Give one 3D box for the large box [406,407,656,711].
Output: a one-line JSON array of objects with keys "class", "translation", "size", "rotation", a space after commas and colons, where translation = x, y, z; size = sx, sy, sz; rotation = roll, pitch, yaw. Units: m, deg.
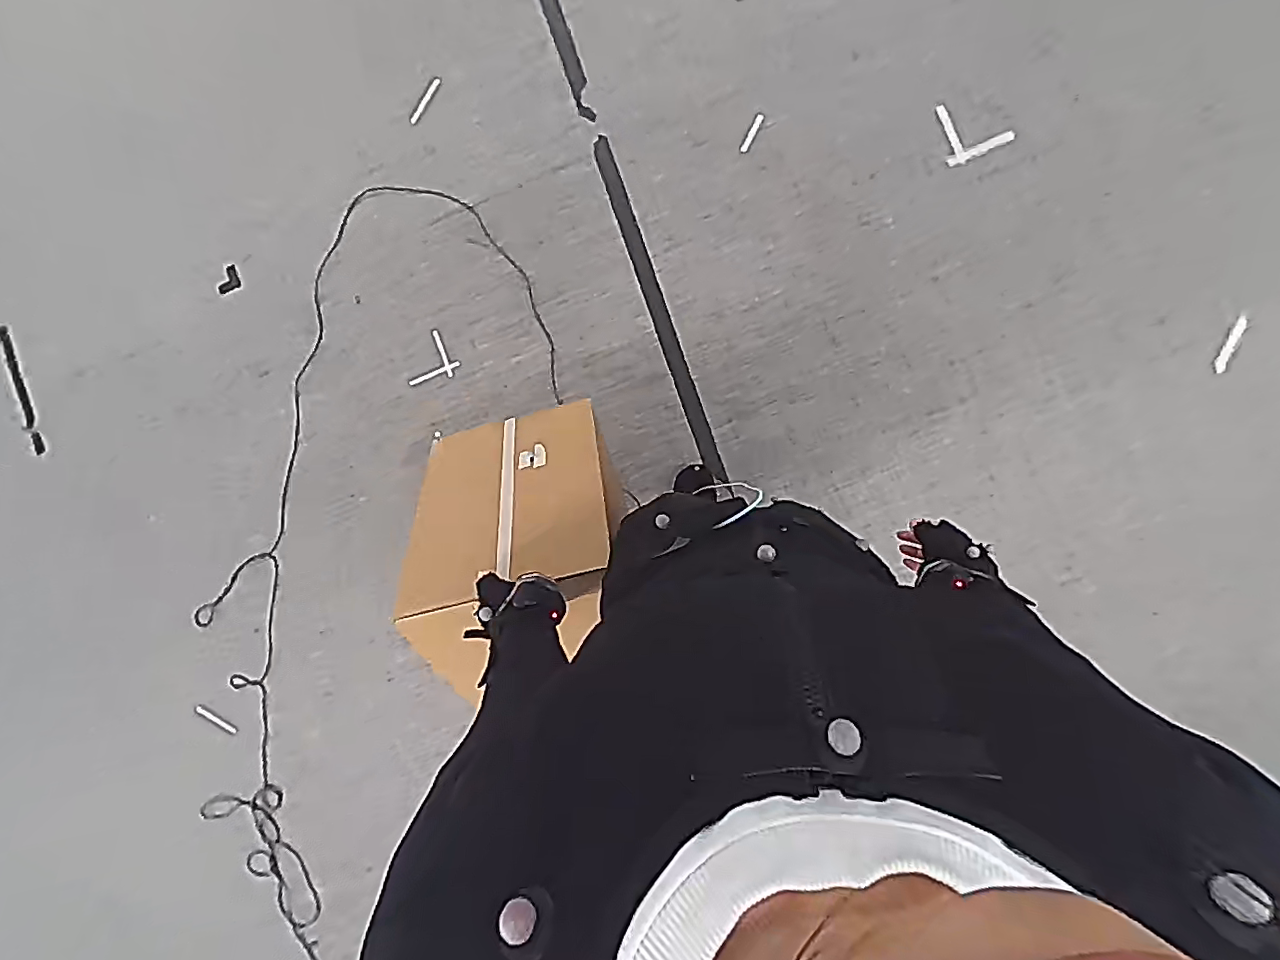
[{"class": "large box", "translation": [-0.178, 0.134, 0.982], "size": [0.320, 0.408, 0.320], "rotation": [-14, 132, 1]}]
